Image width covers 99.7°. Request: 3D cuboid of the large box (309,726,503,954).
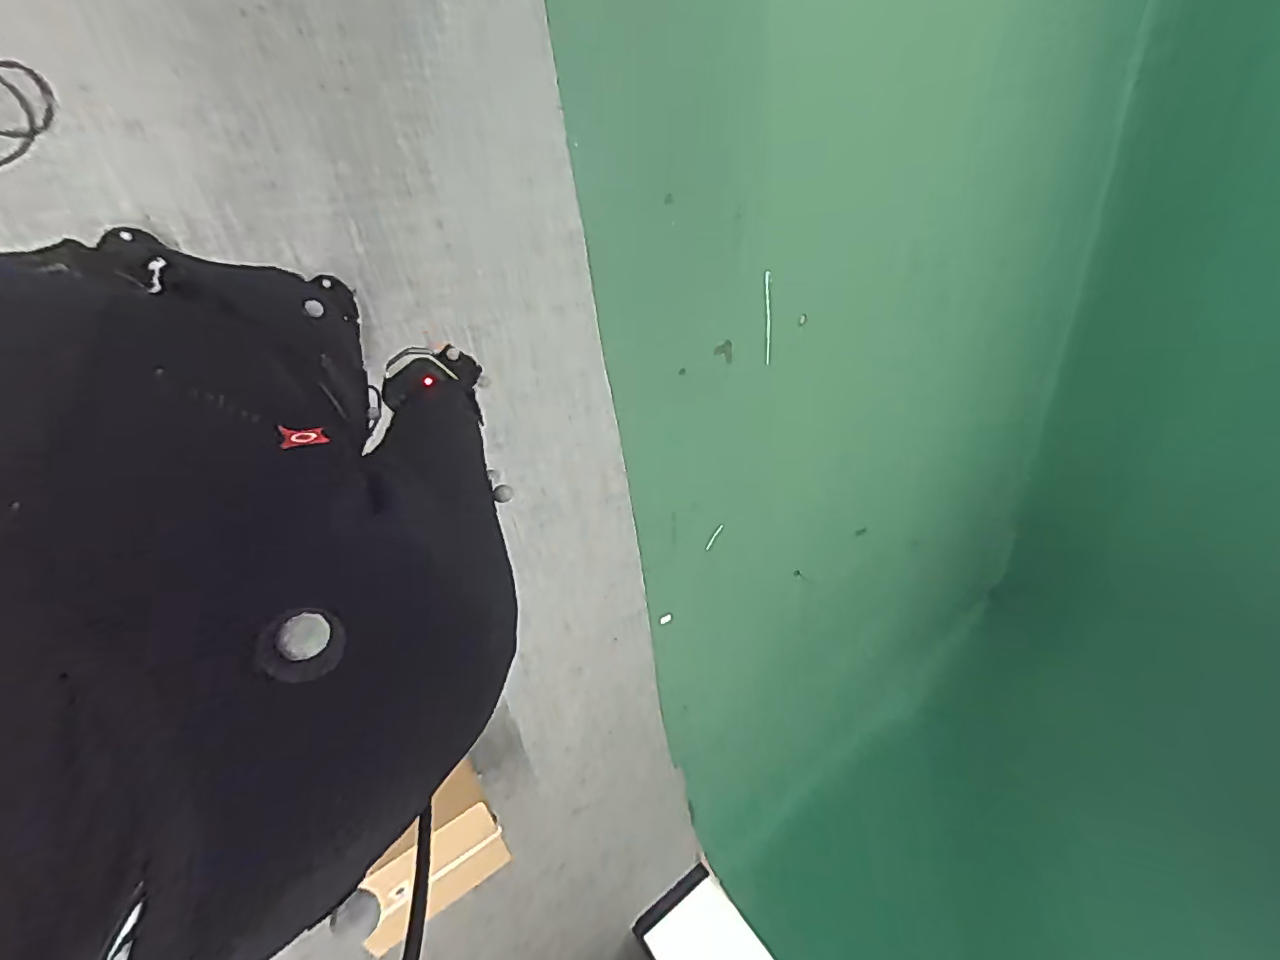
[{"bbox_3d":[-0.670,1.015,1.566,0.408,0.320,0.320,-25,123,-25],"label":"large box"}]
